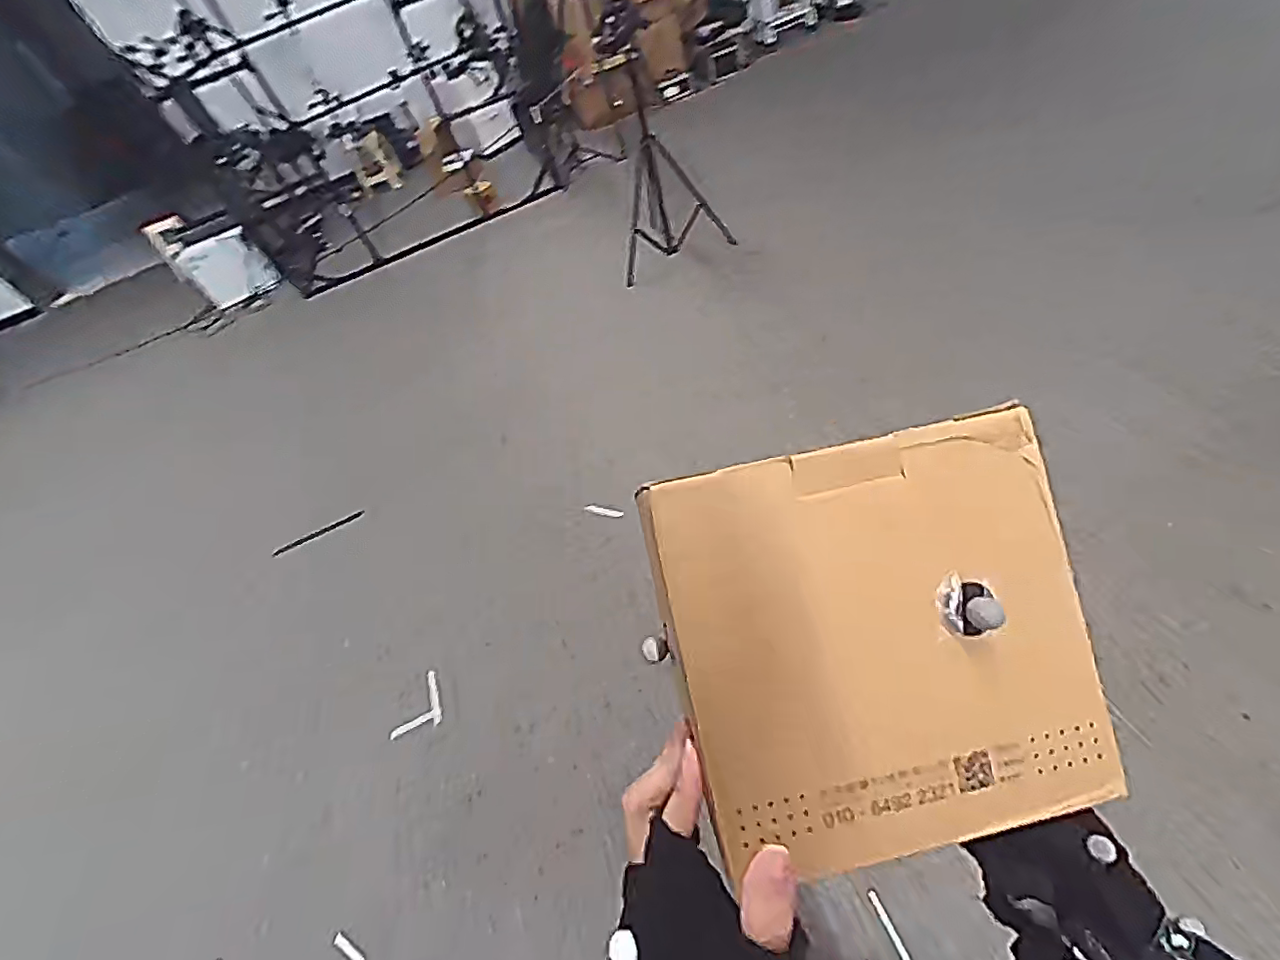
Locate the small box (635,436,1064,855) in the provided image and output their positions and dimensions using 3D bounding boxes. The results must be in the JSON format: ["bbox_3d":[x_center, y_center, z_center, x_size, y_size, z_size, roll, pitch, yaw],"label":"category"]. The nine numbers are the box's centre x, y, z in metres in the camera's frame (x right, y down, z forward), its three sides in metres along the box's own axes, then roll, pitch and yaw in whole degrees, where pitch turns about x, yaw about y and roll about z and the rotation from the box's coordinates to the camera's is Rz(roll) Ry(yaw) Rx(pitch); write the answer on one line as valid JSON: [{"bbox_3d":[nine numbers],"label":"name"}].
[{"bbox_3d":[0.095,0.084,0.318,0.168,0.179,0.176,-13,87,-2],"label":"small box"}]
